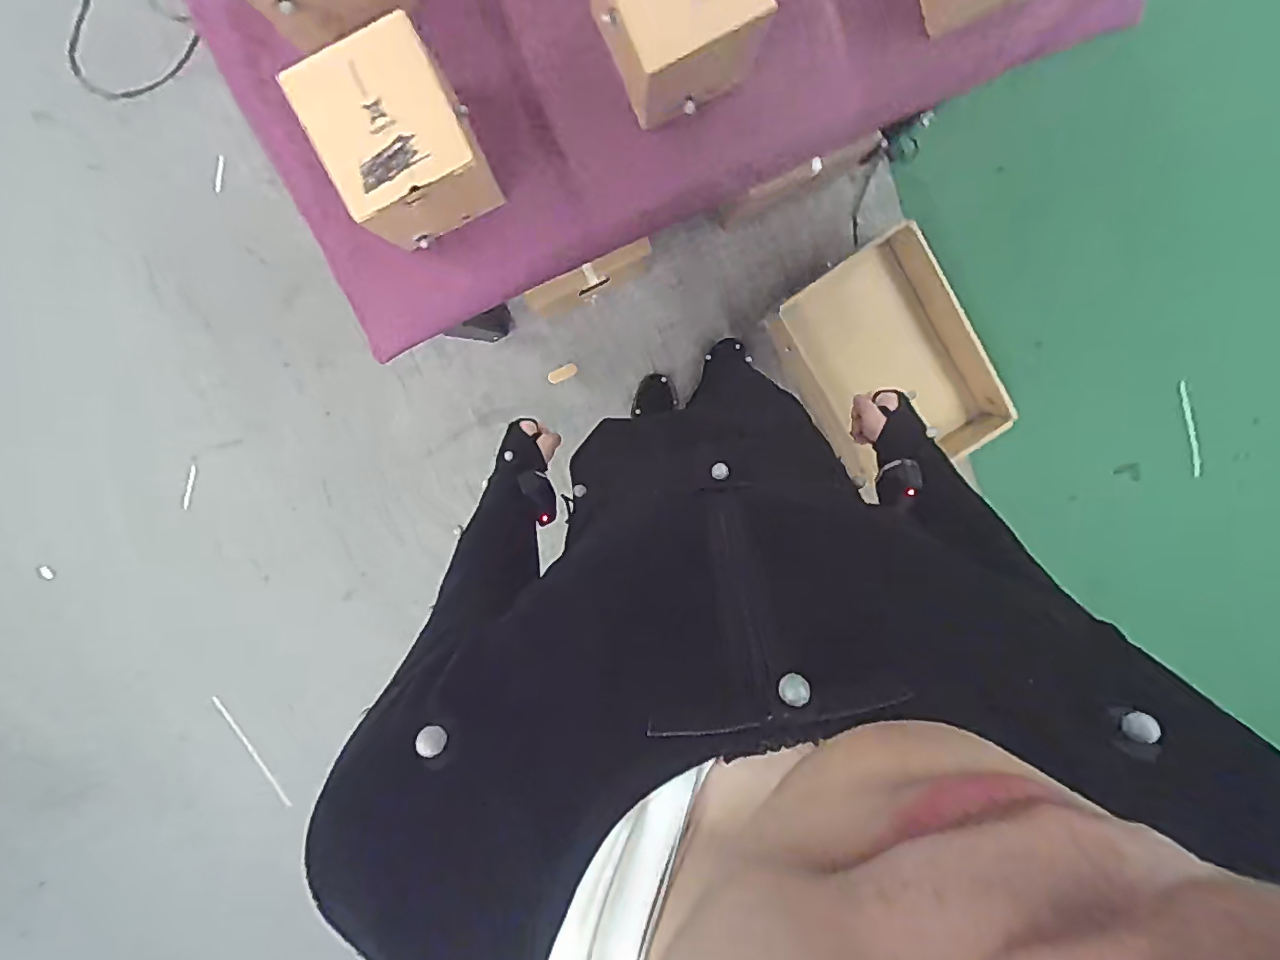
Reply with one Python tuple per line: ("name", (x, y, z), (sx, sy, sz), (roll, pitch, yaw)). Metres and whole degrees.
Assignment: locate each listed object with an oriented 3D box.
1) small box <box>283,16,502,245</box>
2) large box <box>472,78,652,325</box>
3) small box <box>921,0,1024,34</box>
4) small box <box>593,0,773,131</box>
("small box", (-0.304, -0.432, 0.709), (0.168, 0.176, 0.179), (-25, 100, 4))
("large box", (-0.194, -0.648, 1.343), (0.320, 0.320, 0.408), (-26, 100, 3))
("small box", (0.451, -0.716, 0.663), (0.168, 0.176, 0.179), (-21, 99, 5))
("small box", (0.043, -0.595, 0.684), (0.168, 0.176, 0.179), (-25, 101, 5))
